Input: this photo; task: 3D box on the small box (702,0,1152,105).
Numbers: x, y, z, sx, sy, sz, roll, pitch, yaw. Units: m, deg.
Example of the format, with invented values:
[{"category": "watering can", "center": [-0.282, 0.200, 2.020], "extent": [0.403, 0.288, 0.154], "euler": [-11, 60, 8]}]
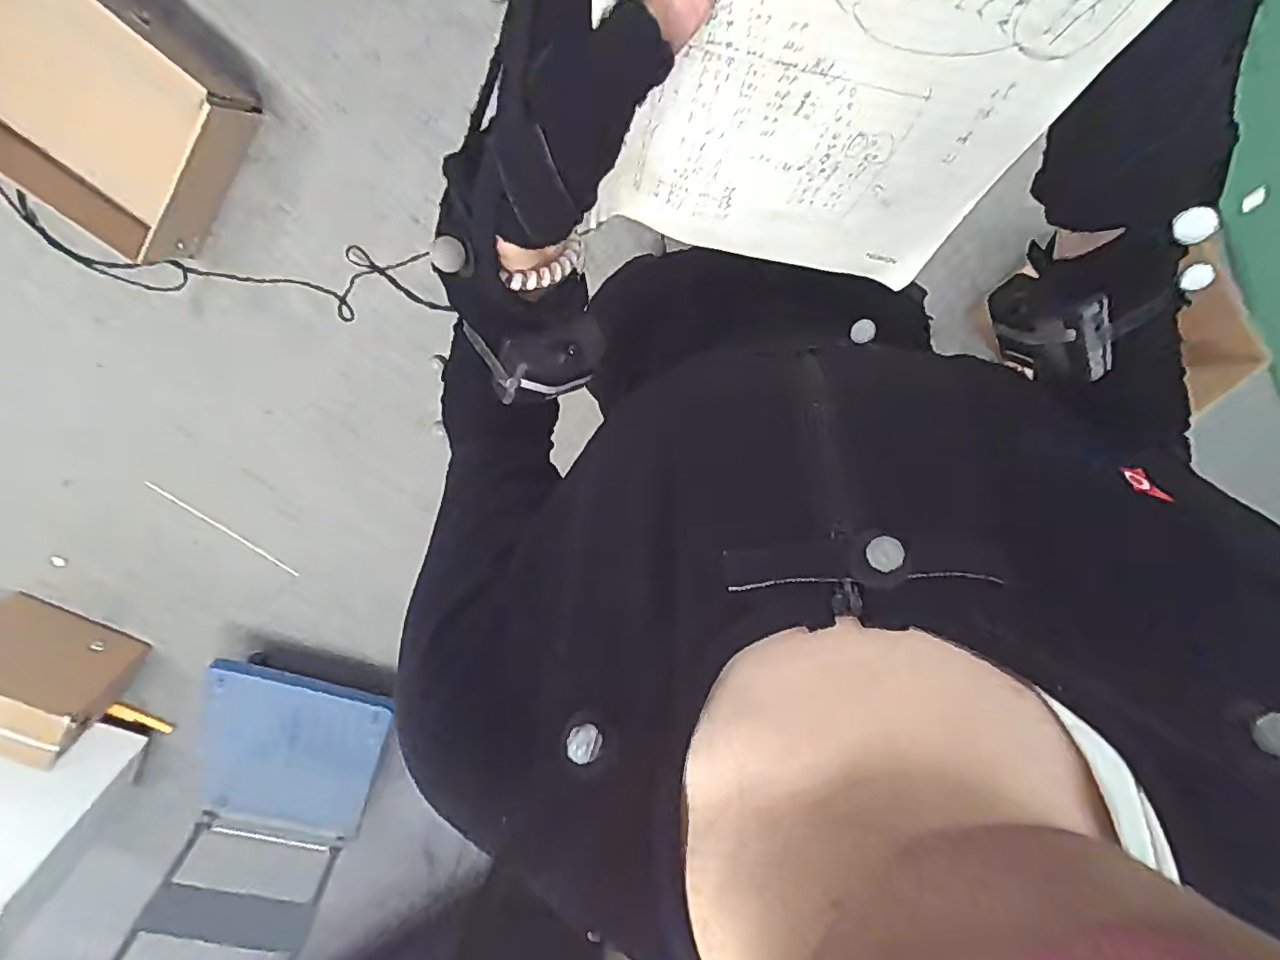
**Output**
[{"category": "small box", "center": [0.109, -0.285, 0.209], "extent": [0.179, 0.176, 0.168], "euler": [-6, 150, 4]}]
